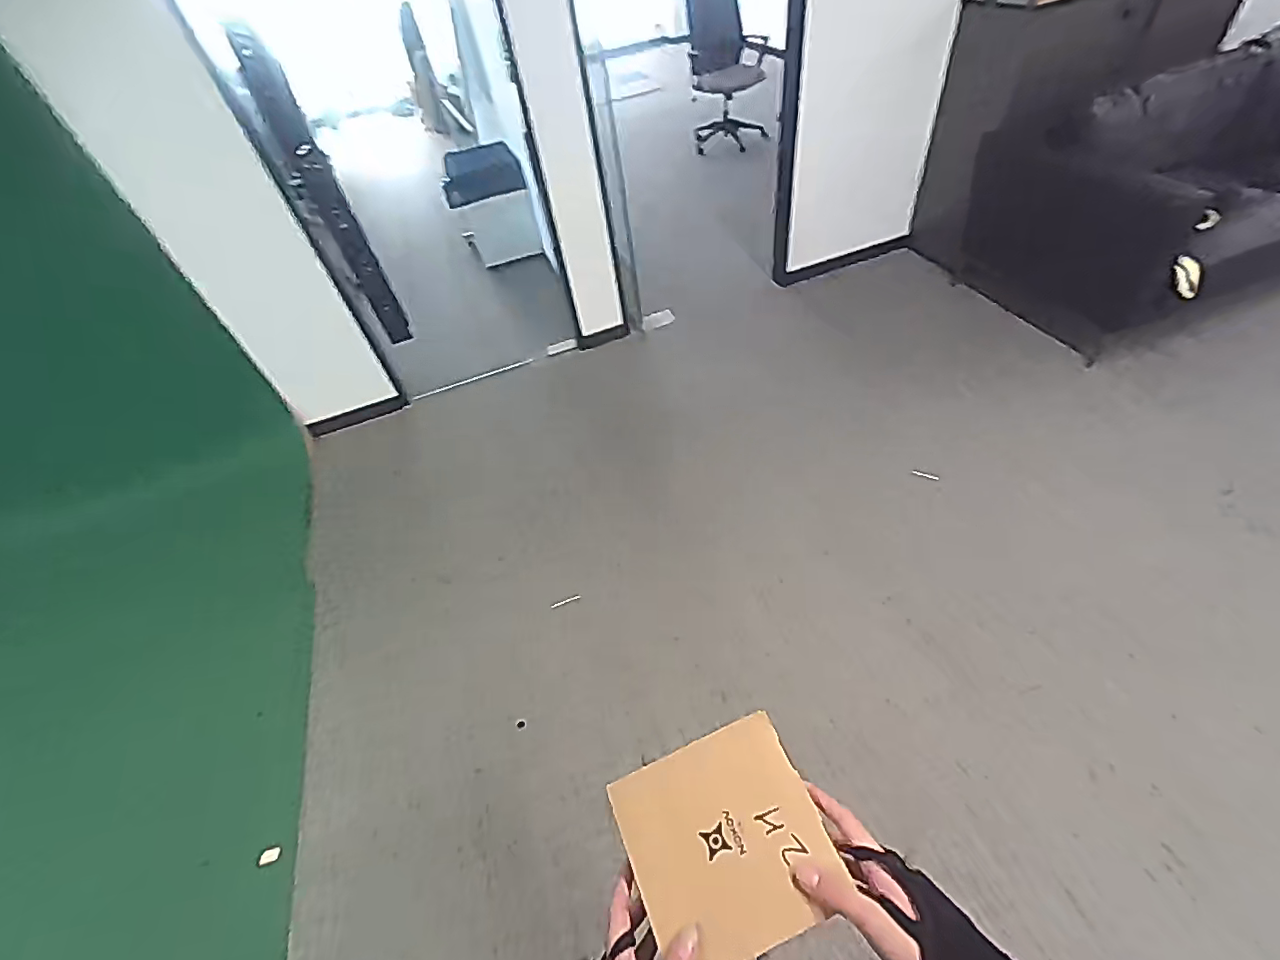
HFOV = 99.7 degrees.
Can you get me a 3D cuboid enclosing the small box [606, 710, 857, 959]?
[{"bbox_3d":[0.086,0.363,0.546,0.179,0.176,0.168,-22,55,-6],"label":"small box"}]
